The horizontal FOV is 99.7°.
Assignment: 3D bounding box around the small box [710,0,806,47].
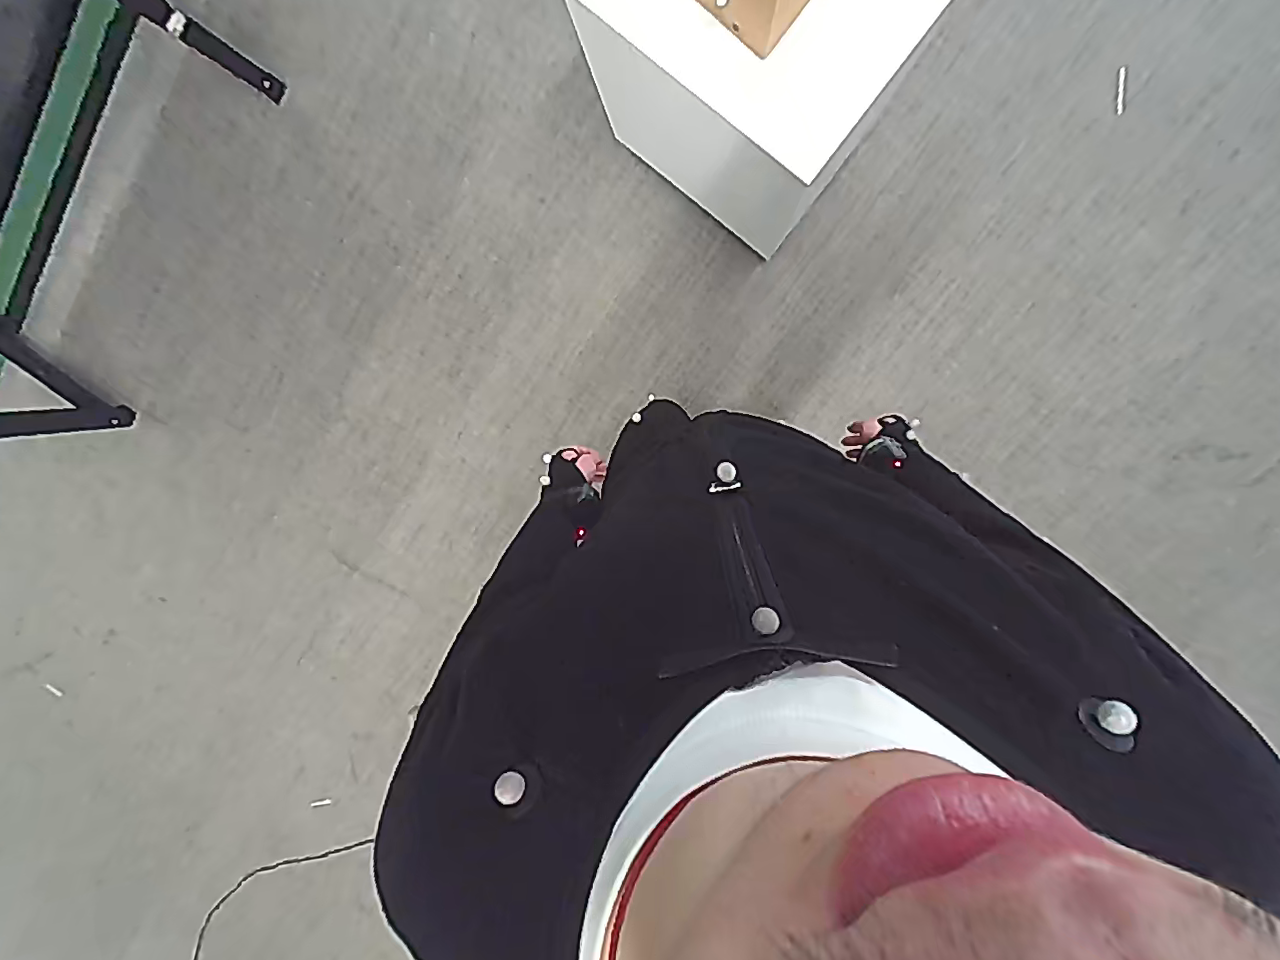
[{"bbox_3d":[0.179,-0.760,0.738,0.168,0.176,0.179,38,102,-1],"label":"small box"}]
